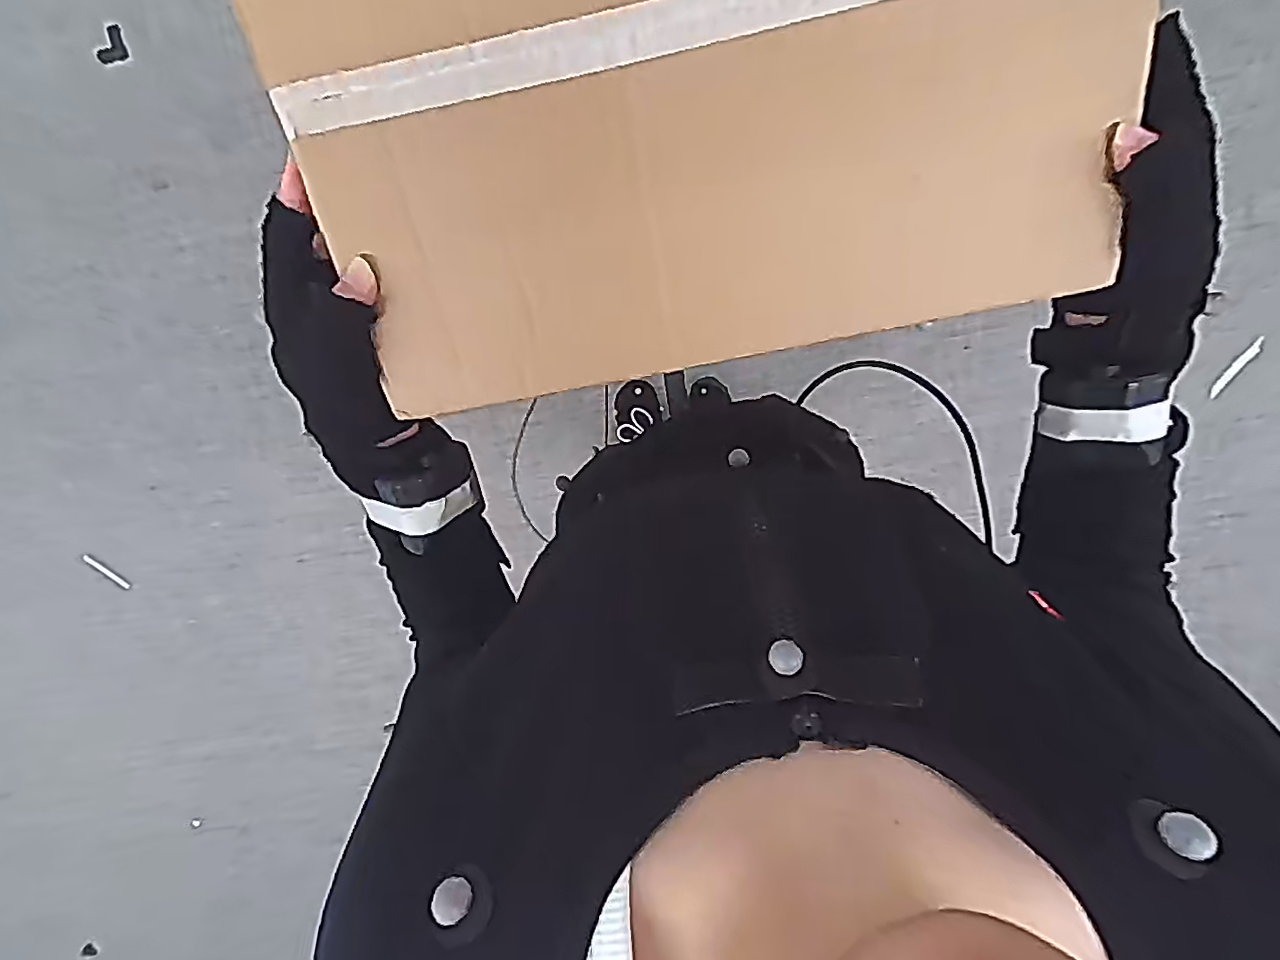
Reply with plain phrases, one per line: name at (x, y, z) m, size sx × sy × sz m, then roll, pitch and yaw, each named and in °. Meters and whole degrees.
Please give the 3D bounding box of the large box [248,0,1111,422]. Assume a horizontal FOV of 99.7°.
large box at (0.023, -0.268, 0.394) m, size 0.408 × 0.320 × 0.320 m, roll -10°, pitch 112°, yaw 4°
